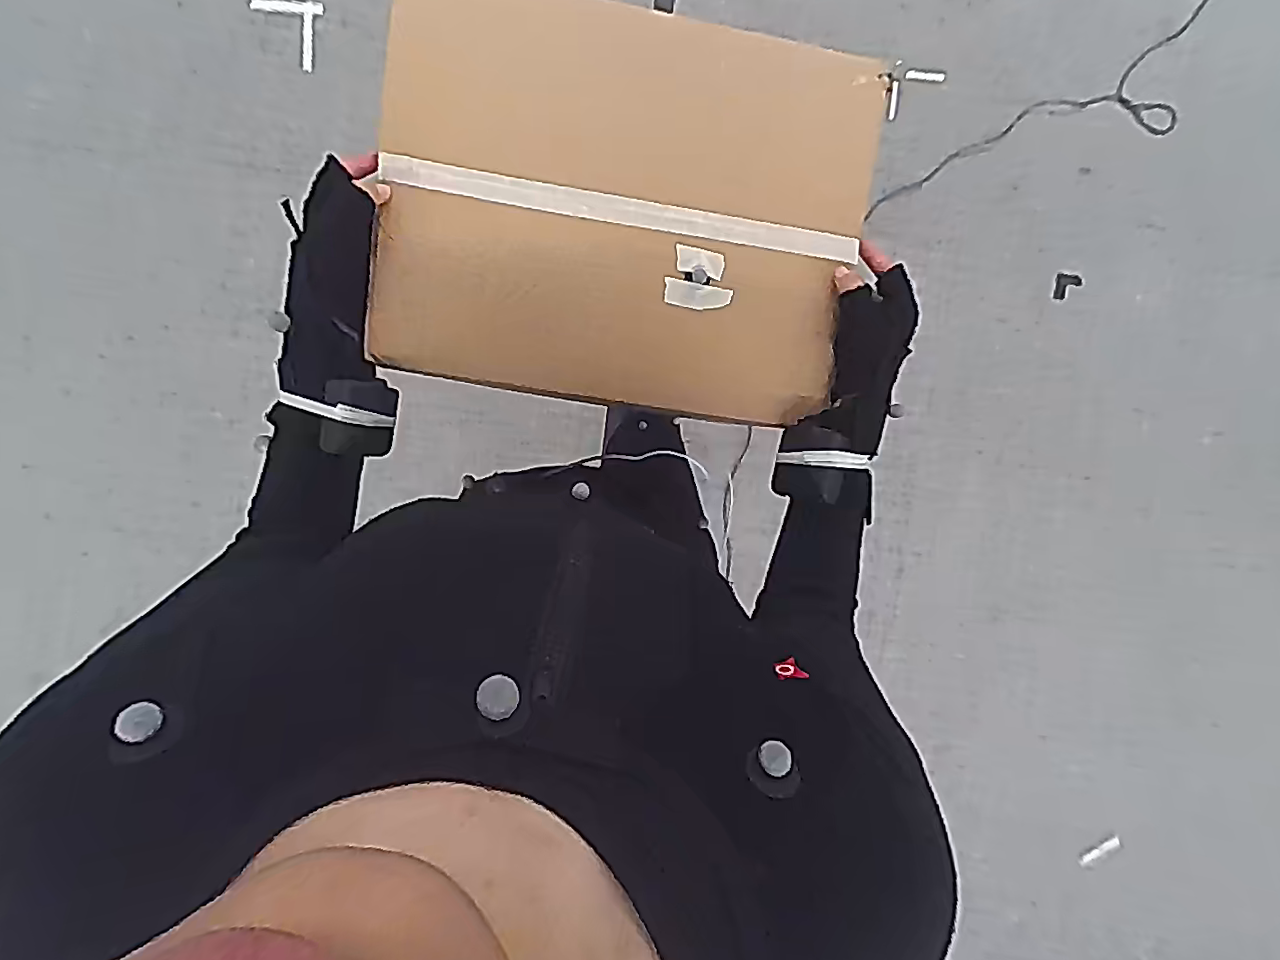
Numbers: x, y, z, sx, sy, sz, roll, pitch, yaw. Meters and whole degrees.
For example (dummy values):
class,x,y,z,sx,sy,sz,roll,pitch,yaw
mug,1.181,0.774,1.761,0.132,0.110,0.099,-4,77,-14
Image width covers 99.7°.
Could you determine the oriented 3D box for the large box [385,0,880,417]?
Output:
class,x,y,z,sx,sy,sz,roll,pitch,yaw
large box,-0.020,-0.252,0.613,0.408,0.320,0.320,8,98,-6
